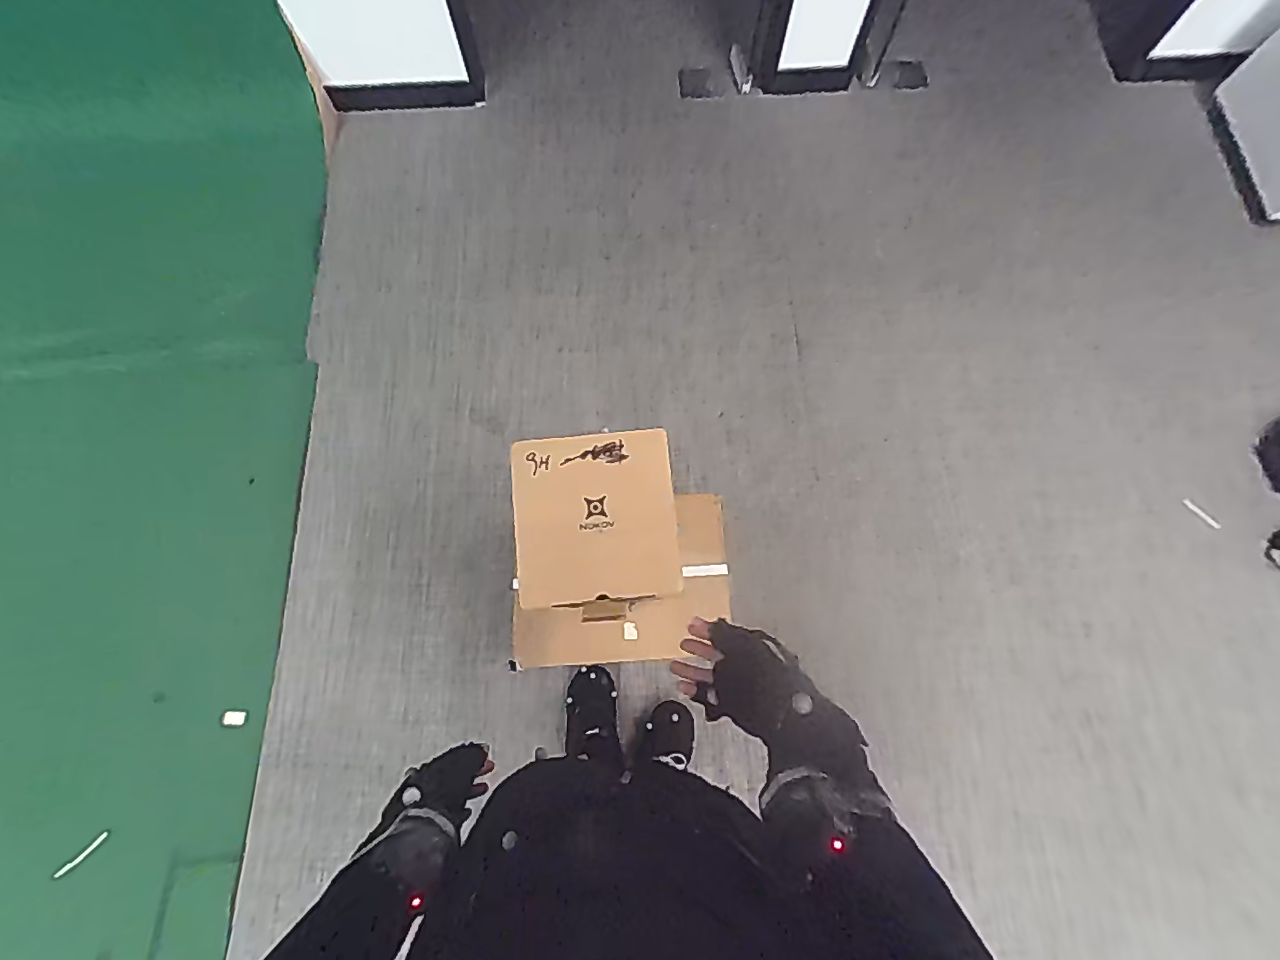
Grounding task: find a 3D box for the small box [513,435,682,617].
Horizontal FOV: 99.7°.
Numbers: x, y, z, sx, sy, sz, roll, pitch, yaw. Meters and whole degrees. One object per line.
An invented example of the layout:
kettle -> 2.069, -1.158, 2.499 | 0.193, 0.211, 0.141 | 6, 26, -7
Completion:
small box -> -0.047, 0.058, 0.636 | 0.168, 0.176, 0.179 | -6, 79, -3
